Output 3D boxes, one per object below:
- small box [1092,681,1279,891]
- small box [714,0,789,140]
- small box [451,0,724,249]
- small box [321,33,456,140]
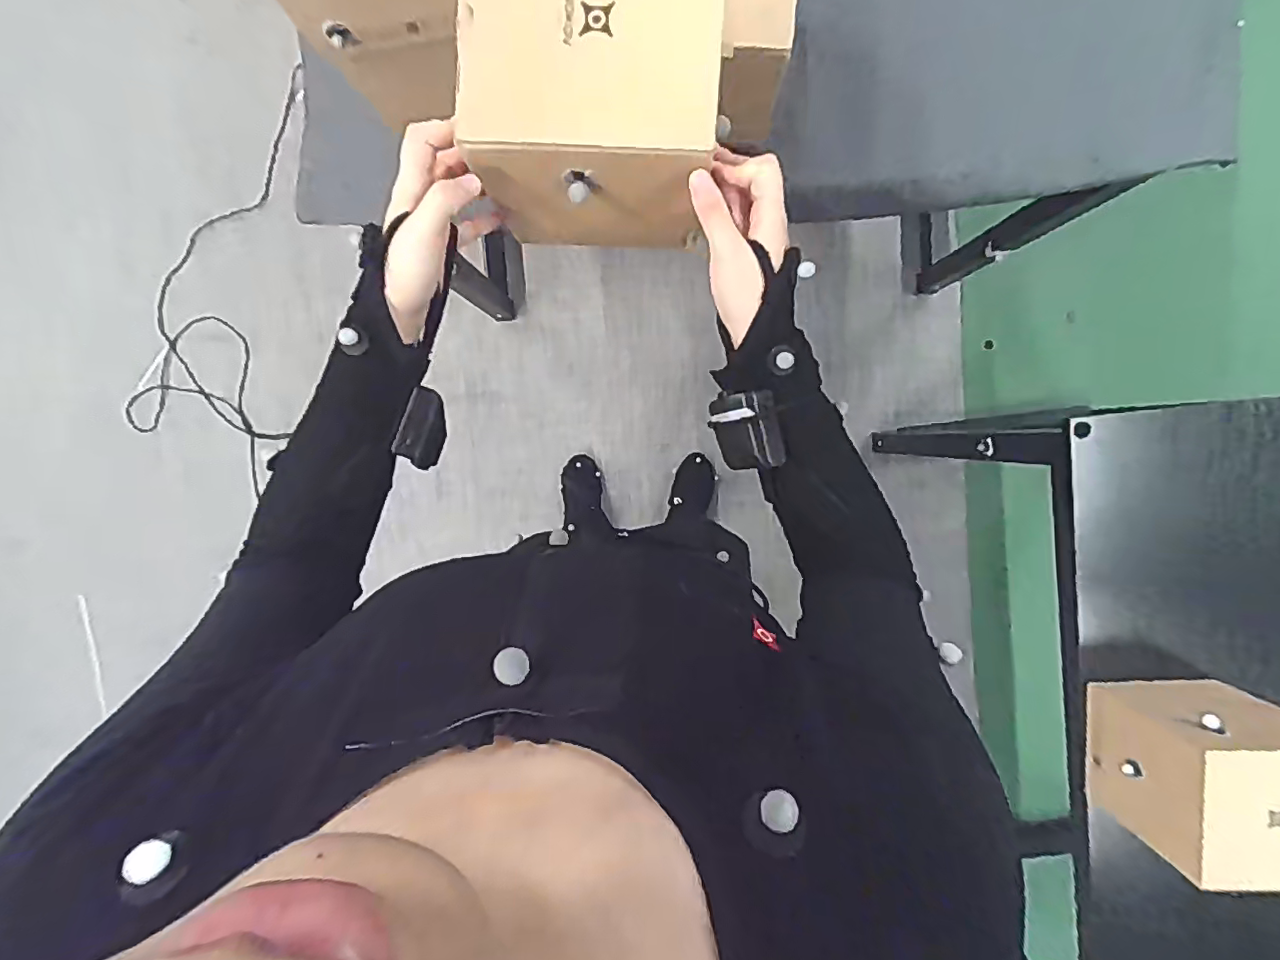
[{"bbox_3d":[0.711,0.365,0.671,0.179,0.176,0.168,-3,95,3],"label":"small box"},{"bbox_3d":[0.079,-0.527,0.627,0.168,0.176,0.179,5,94,3],"label":"small box"},{"bbox_3d":[-0.030,-0.299,0.431,0.179,0.176,0.168,4,93,4],"label":"small box"},{"bbox_3d":[-0.253,-0.540,0.642,0.179,0.176,0.168,-6,93,4],"label":"small box"}]
